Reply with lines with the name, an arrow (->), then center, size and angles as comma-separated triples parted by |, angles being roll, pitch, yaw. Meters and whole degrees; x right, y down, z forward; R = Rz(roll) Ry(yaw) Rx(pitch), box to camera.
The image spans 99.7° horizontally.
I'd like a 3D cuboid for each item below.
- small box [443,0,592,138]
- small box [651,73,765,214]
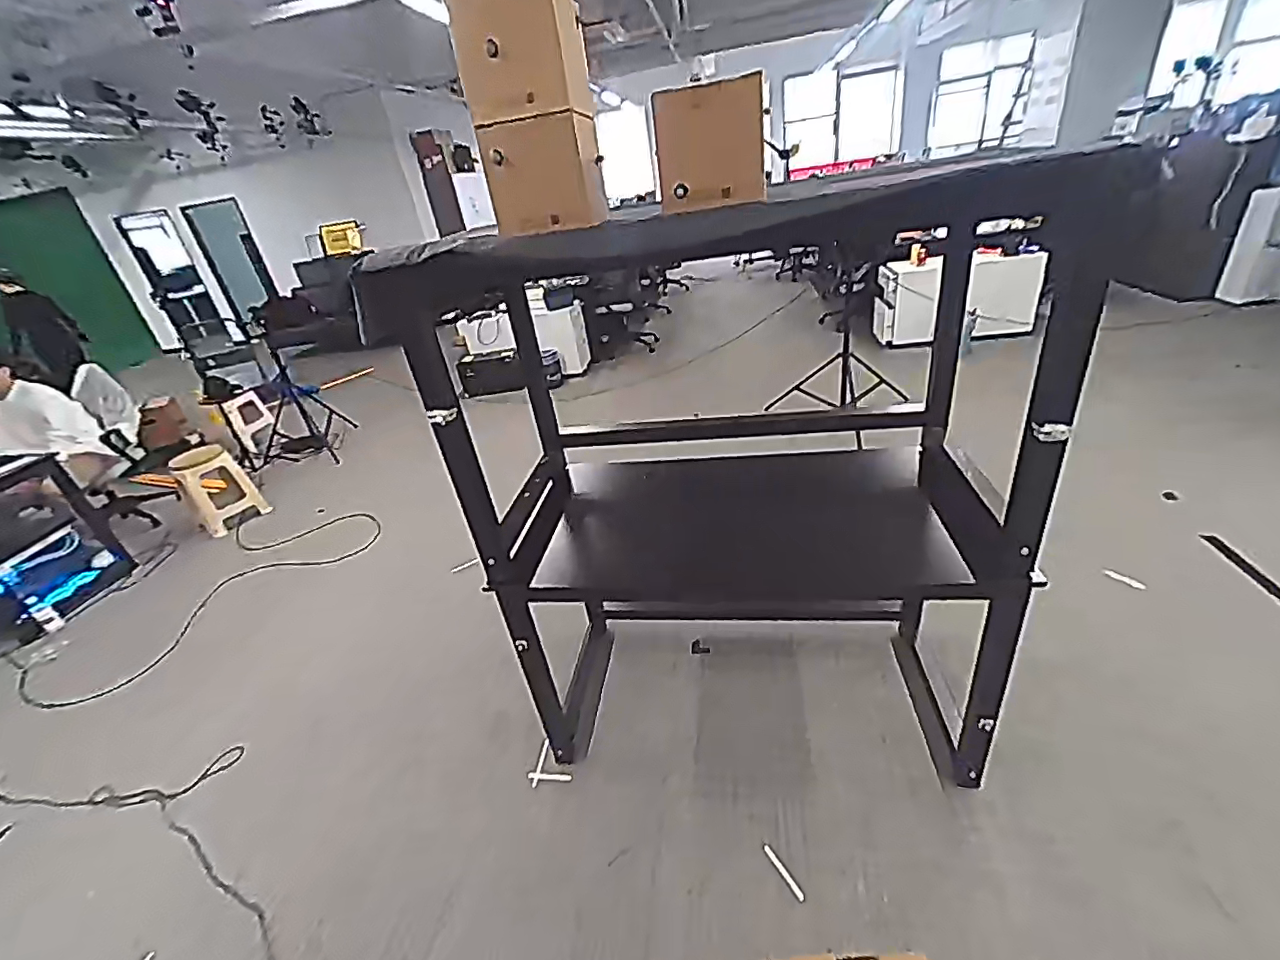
small box -> -0.184, -0.670, 0.876 | 0.168, 0.176, 0.179 | -3, 28, 11
small box -> 0.120, -0.545, 0.898 | 0.168, 0.176, 0.179 | -2, 28, 12
